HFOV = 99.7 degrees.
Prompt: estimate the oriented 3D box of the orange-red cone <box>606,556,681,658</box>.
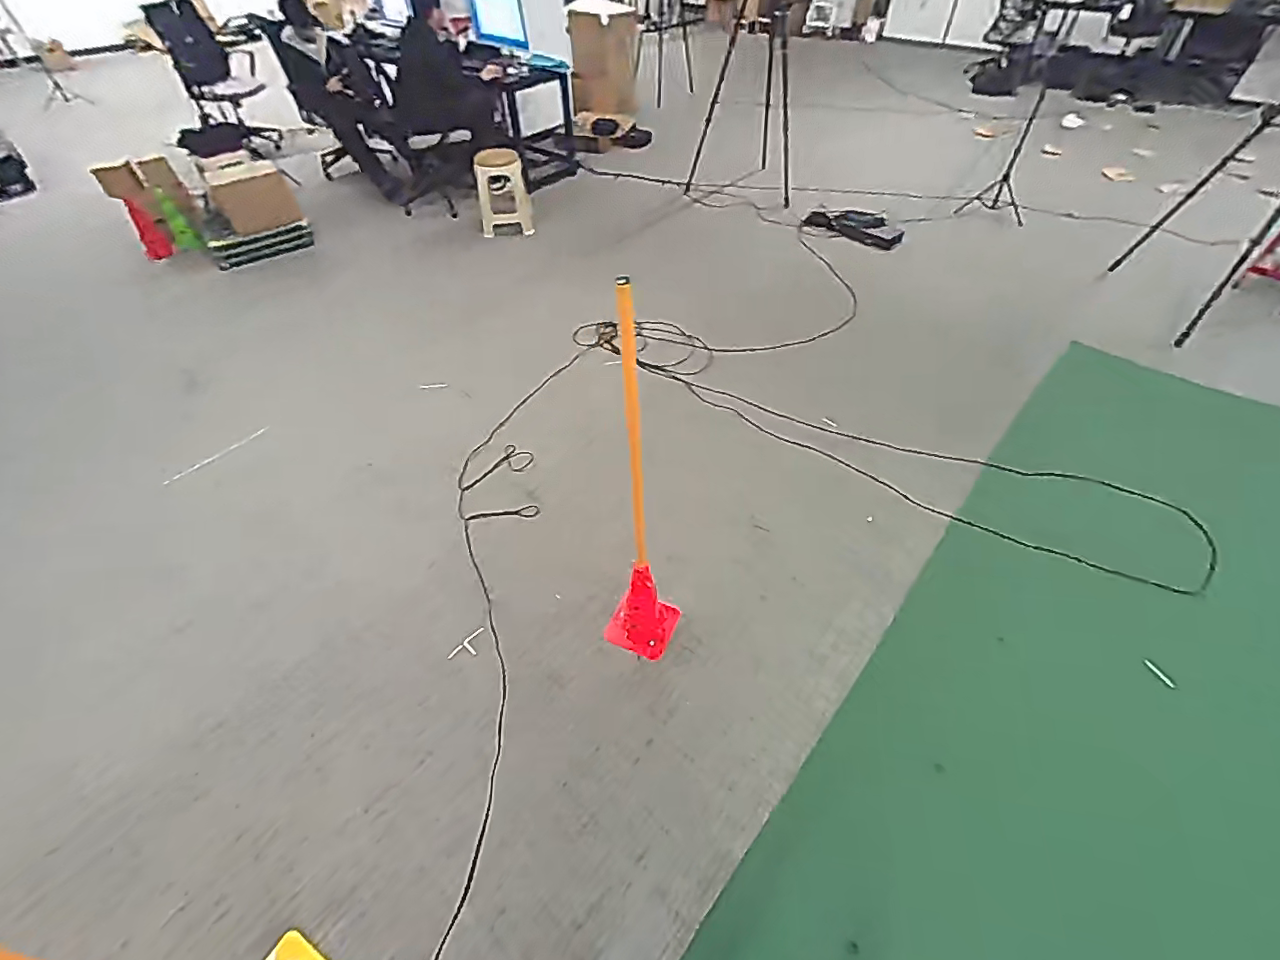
[{"bbox_3d":[0.013,0.345,1.629,0.198,0.360,0.199,20,50,18],"label":"orange-red cone"}]
